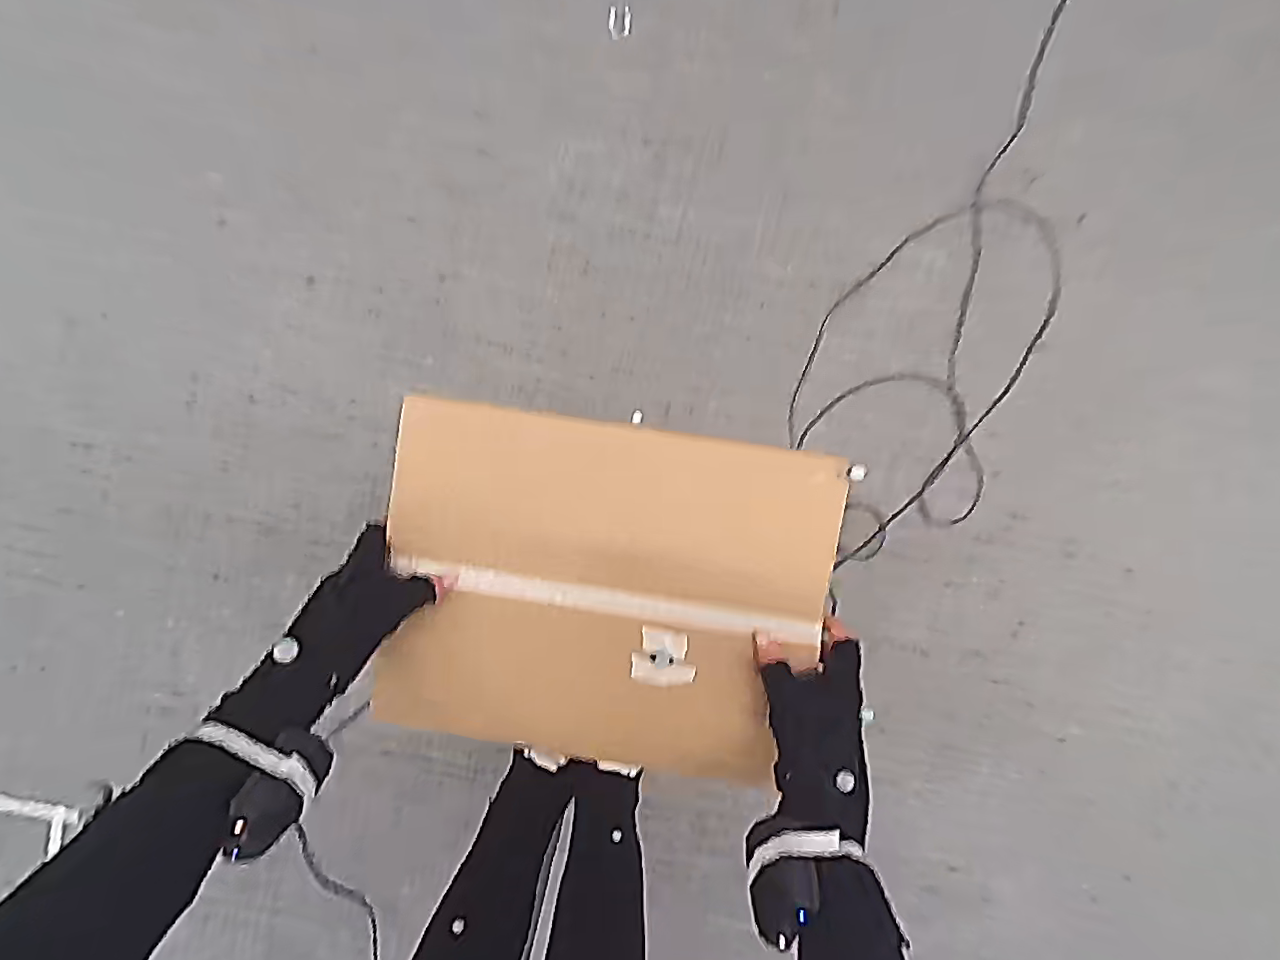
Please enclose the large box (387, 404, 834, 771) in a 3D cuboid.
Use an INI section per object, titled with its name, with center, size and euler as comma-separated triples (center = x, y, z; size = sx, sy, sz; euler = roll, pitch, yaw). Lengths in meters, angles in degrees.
[large box]
center = -0.030, 0.095, 0.664
size = 0.408, 0.320, 0.320
euler = 9, 95, 2
